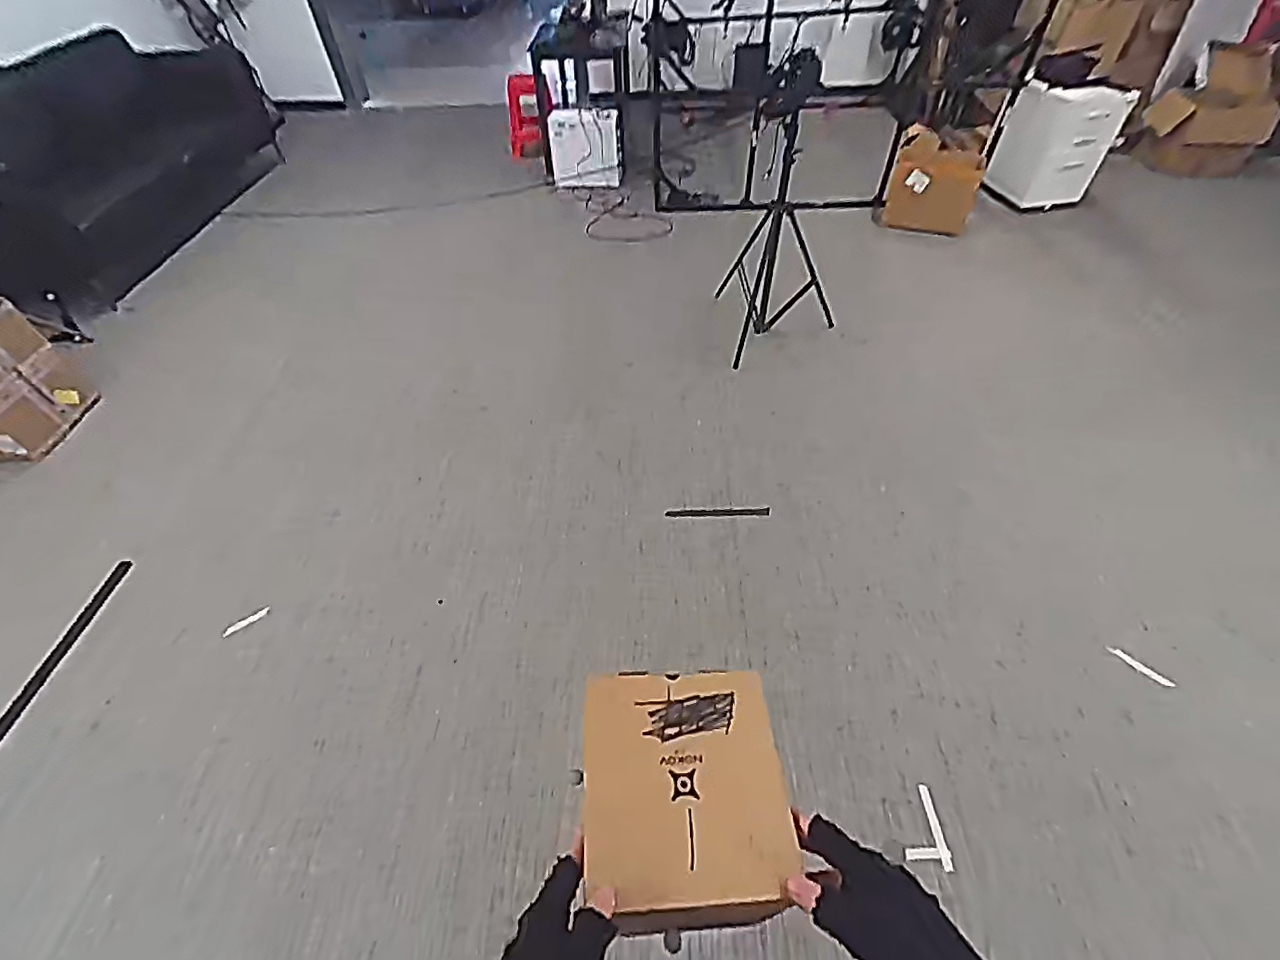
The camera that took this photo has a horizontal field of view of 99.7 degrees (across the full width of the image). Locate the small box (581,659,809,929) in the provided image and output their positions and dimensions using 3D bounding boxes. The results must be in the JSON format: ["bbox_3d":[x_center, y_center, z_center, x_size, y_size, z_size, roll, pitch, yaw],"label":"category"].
[{"bbox_3d":[0.031,0.285,0.496,0.168,0.176,0.179,0,45,-5],"label":"small box"}]
